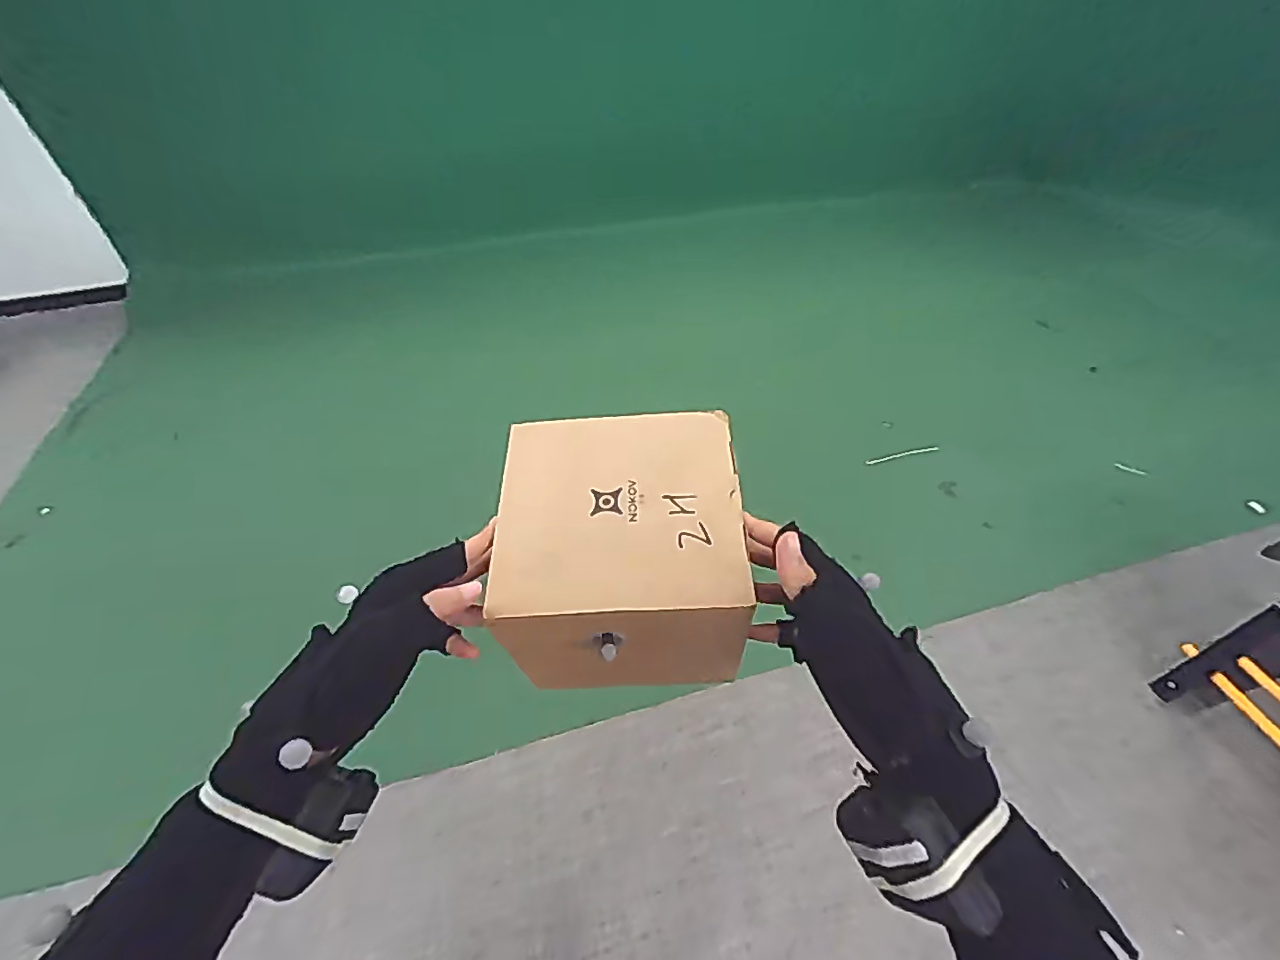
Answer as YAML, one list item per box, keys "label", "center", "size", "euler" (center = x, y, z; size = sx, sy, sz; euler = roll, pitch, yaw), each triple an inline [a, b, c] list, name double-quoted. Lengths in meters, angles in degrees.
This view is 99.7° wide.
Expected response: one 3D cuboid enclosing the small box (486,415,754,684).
- label: "small box"
  center: [-0.009, 0.065, 0.453]
  size: [0.179, 0.176, 0.168]
  euler: [-3, 55, 2]
